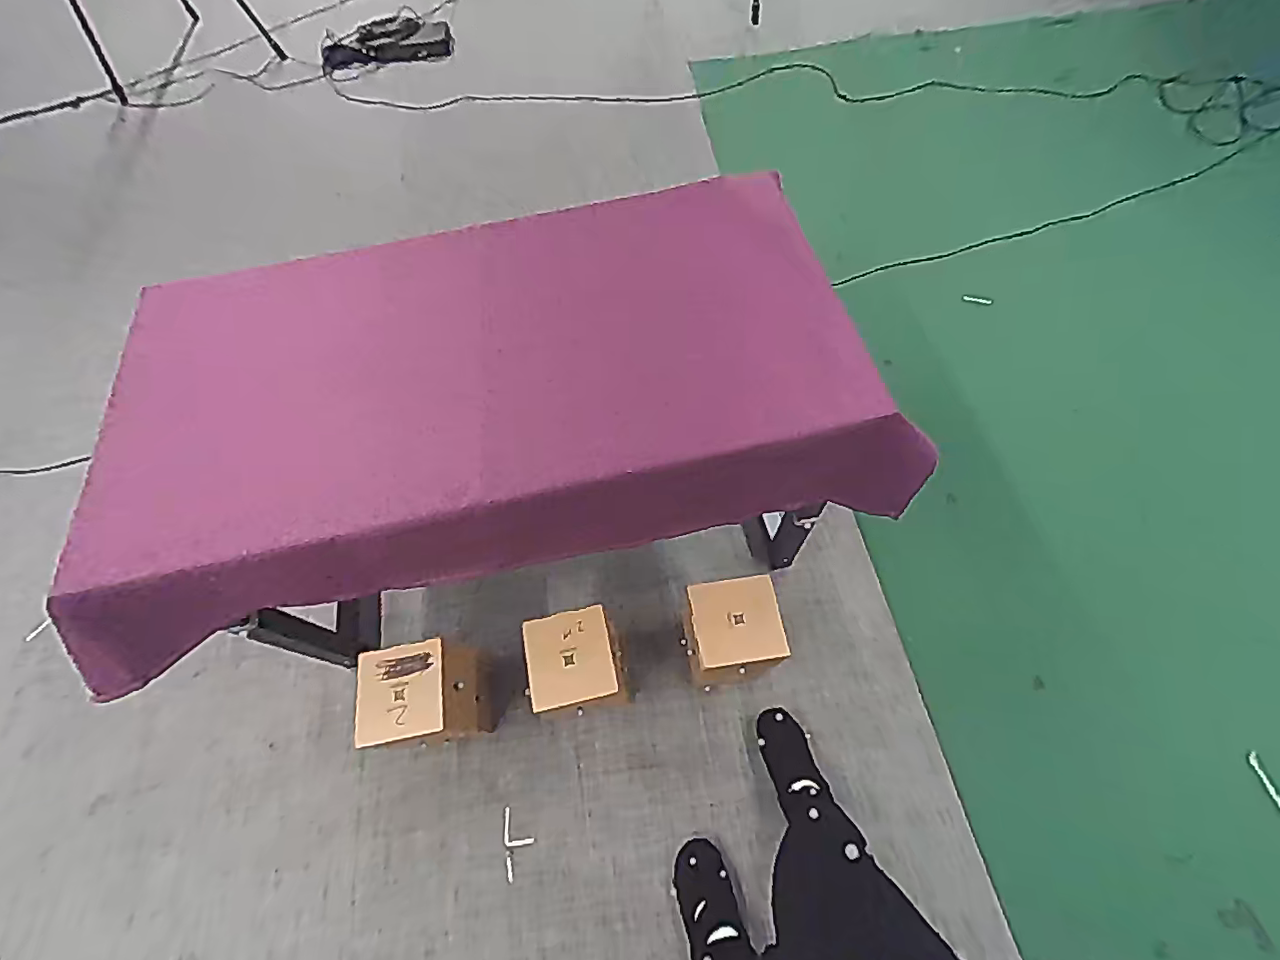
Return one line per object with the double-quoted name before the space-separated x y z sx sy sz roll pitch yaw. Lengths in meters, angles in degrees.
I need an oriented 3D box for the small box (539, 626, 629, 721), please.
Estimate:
"small box" -0.128 0.462 1.278 0.179 0.176 0.168 -11 62 -3
